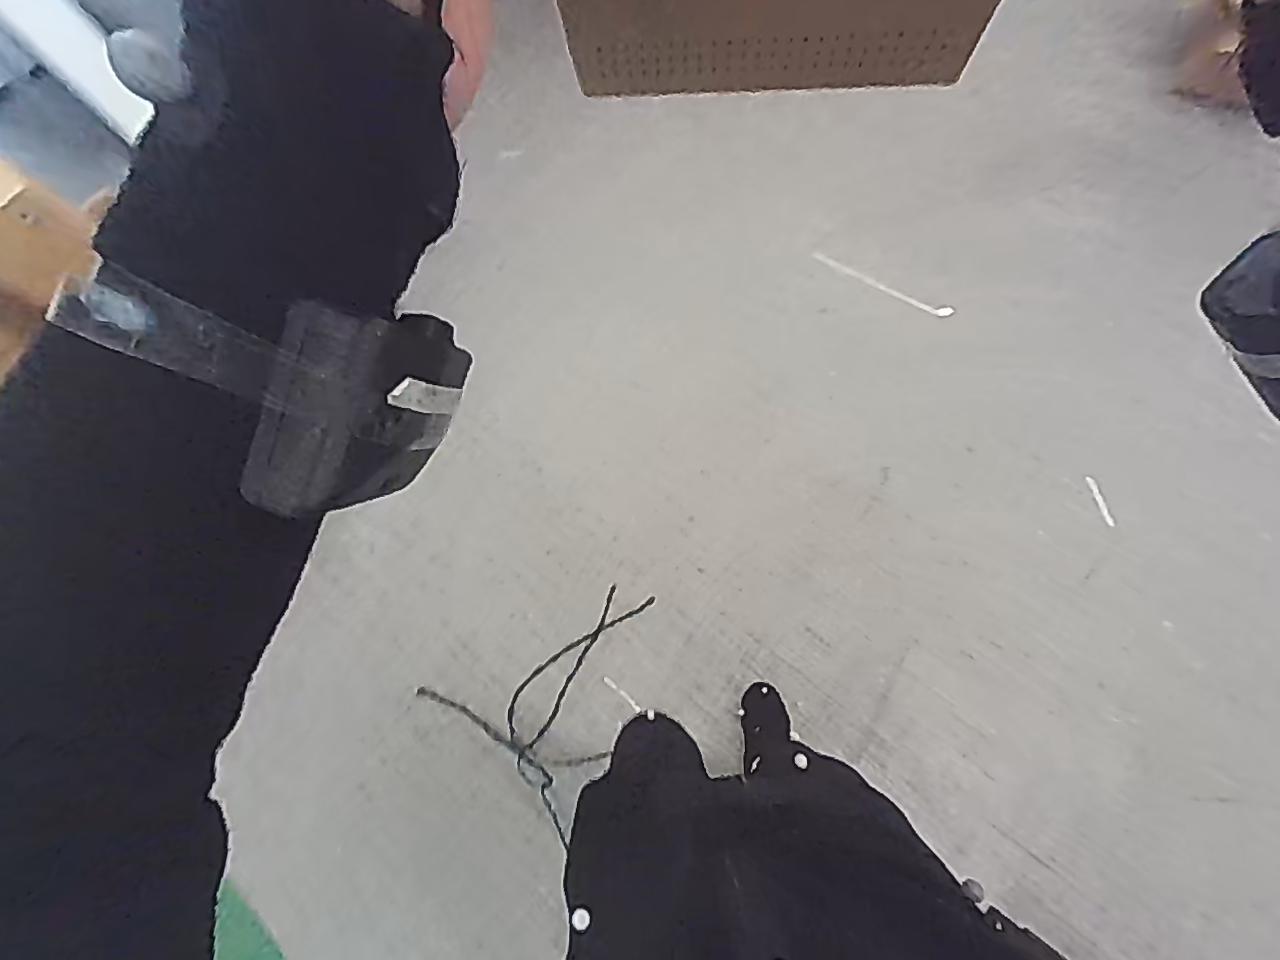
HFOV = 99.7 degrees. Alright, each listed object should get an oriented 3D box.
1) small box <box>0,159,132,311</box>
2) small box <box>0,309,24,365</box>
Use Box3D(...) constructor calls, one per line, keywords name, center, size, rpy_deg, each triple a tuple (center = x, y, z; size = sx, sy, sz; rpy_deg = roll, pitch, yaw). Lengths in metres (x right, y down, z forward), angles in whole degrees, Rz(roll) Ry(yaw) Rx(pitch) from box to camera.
Box3D(name="small box", center=(-1.155, -0.463, 1.041), size=(0.168, 0.176, 0.179), rpy_deg=(38, 79, 20))
Box3D(name="small box", center=(-1.317, -0.275, 0.987), size=(0.168, 0.176, 0.179), rpy_deg=(37, 77, 20))
